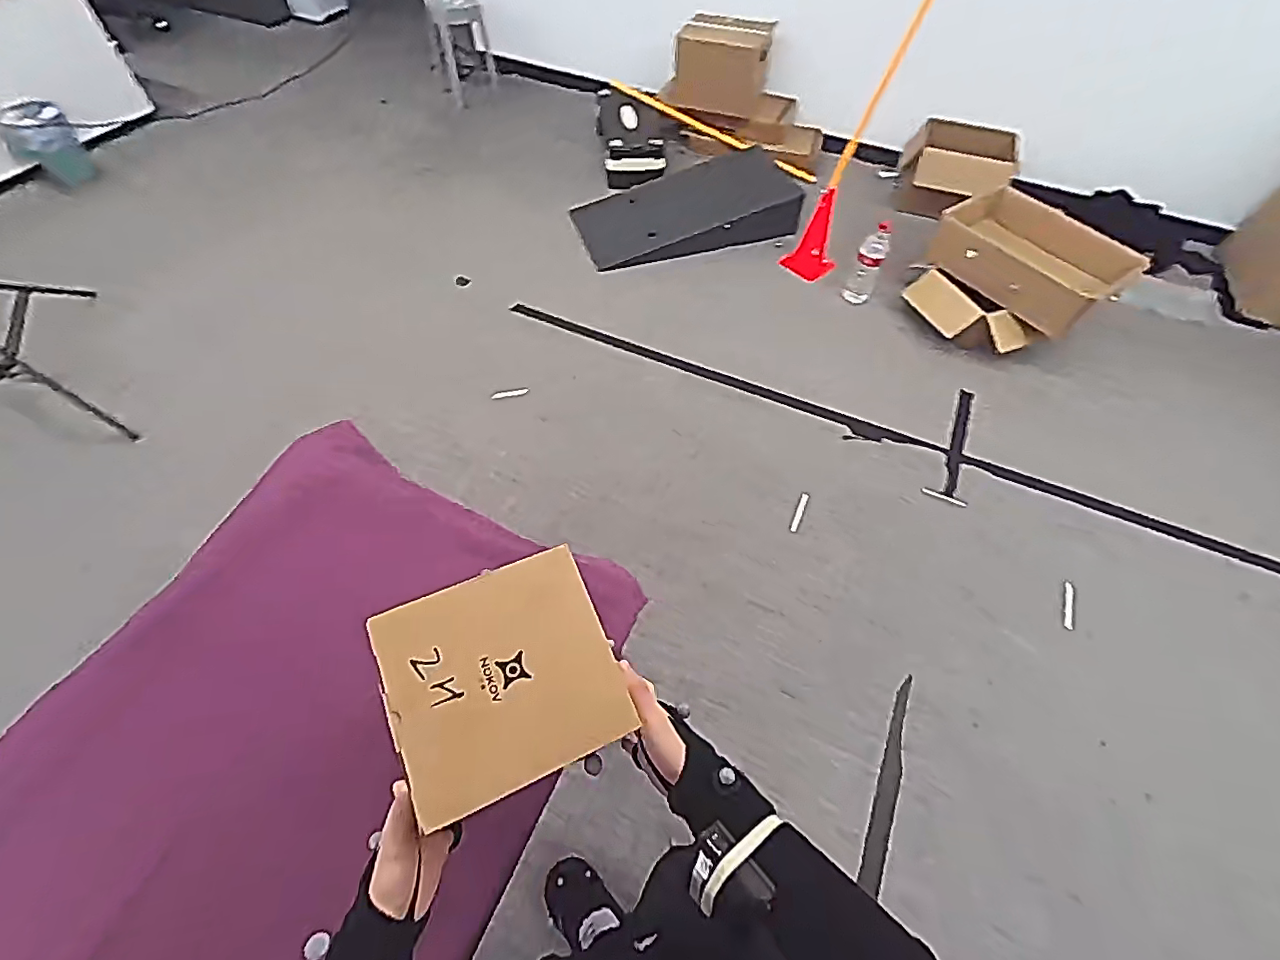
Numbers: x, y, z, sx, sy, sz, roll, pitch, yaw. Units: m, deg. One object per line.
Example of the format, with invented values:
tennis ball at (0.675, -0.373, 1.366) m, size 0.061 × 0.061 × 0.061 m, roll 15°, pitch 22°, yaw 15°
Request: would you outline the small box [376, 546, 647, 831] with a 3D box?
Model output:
small box at (-0.113, 0.185, 0.503) m, size 0.179 × 0.176 × 0.168 m, roll -20°, pitch 69°, yaw -15°
